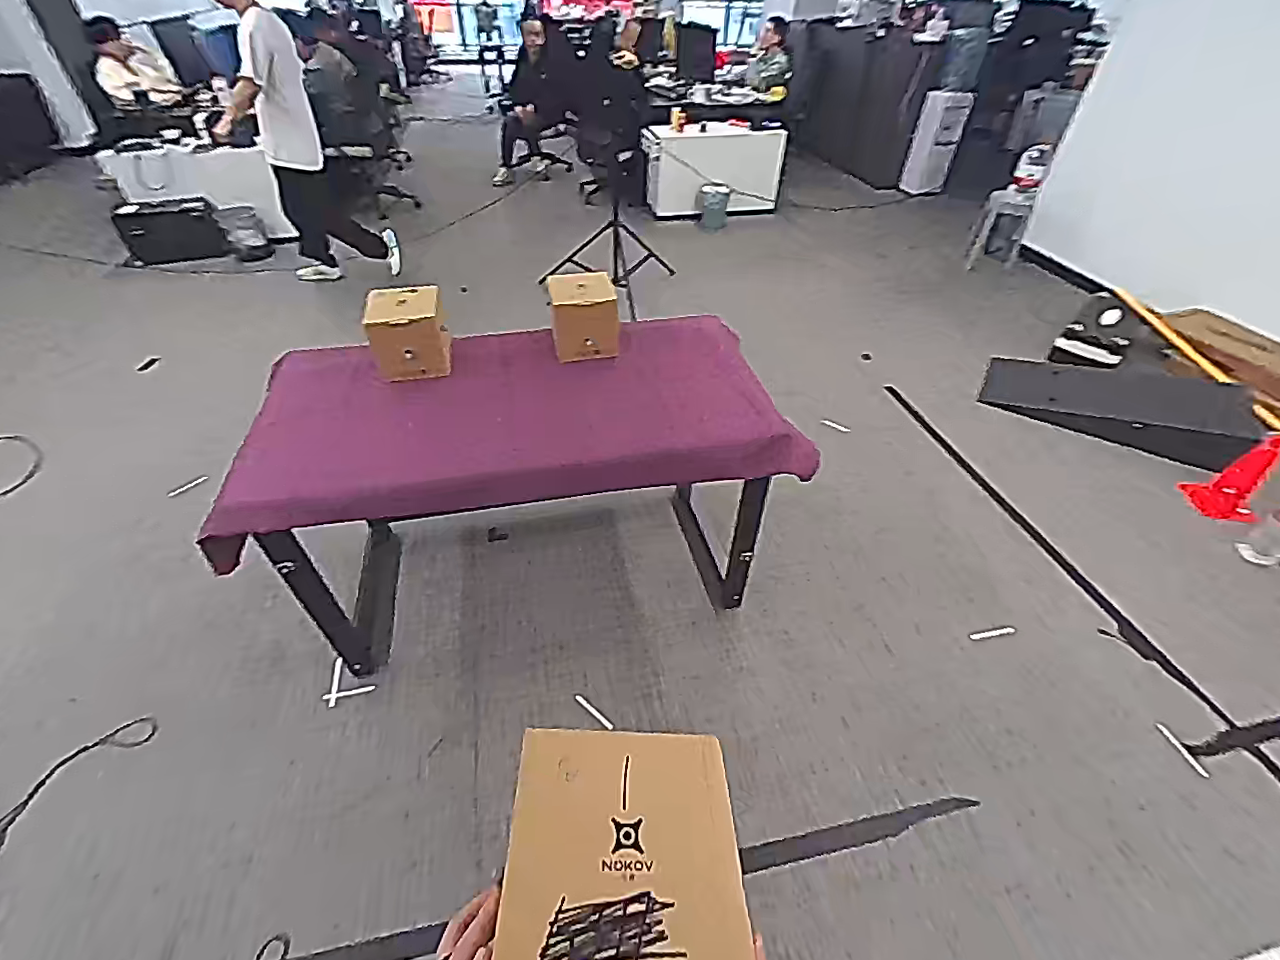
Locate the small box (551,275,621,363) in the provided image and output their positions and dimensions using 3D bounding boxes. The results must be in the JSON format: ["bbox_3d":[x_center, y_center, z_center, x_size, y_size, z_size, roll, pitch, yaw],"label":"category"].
[{"bbox_3d":[-0.148,-0.441,1.481,0.168,0.176,0.179,-9,45,-9],"label":"small box"}]

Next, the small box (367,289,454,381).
[{"bbox_3d":[-0.583,-0.369,1.397,0.168,0.176,0.179,-8,46,-10],"label":"small box"}]

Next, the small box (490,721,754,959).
[{"bbox_3d":[-0.020,0.320,0.430,0.168,0.176,0.179,5,34,-6],"label":"small box"}]
